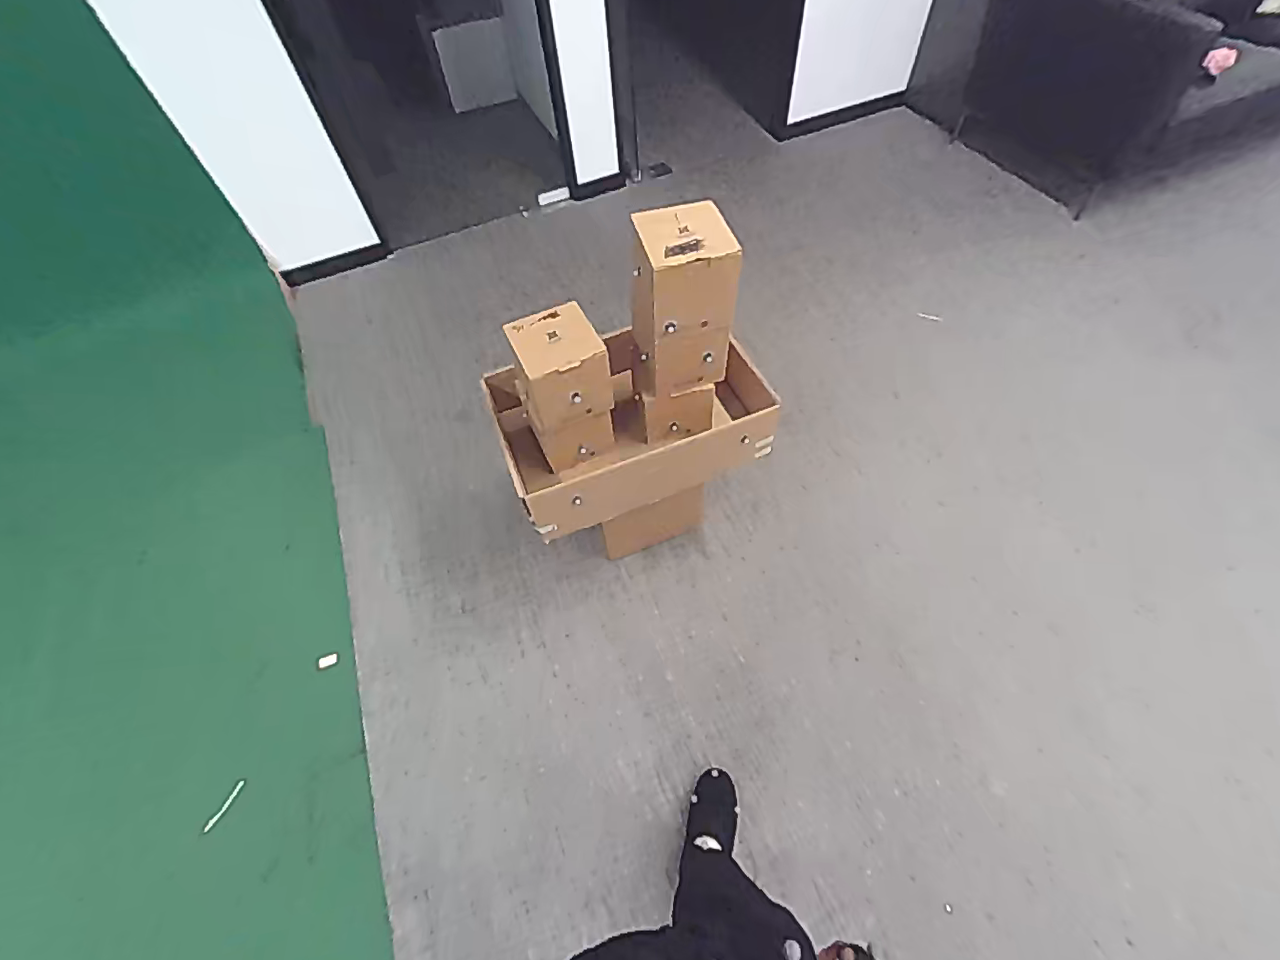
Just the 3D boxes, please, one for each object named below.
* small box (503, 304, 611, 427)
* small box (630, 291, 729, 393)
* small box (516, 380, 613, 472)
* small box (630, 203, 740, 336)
[{"bbox_3d":[-0.169,-0.233,1.143,0.168,0.176,0.179,-23,59,-12],"label":"small box"},{"bbox_3d":[0.084,-0.309,1.184,0.168,0.176,0.179,-15,57,-8],"label":"small box"},{"bbox_3d":[-0.176,-0.150,1.285,0.168,0.176,0.179,-23,58,-12],"label":"small box"},{"bbox_3d":[0.082,-0.399,1.047,0.168,0.176,0.179,-12,56,-6],"label":"small box"}]
